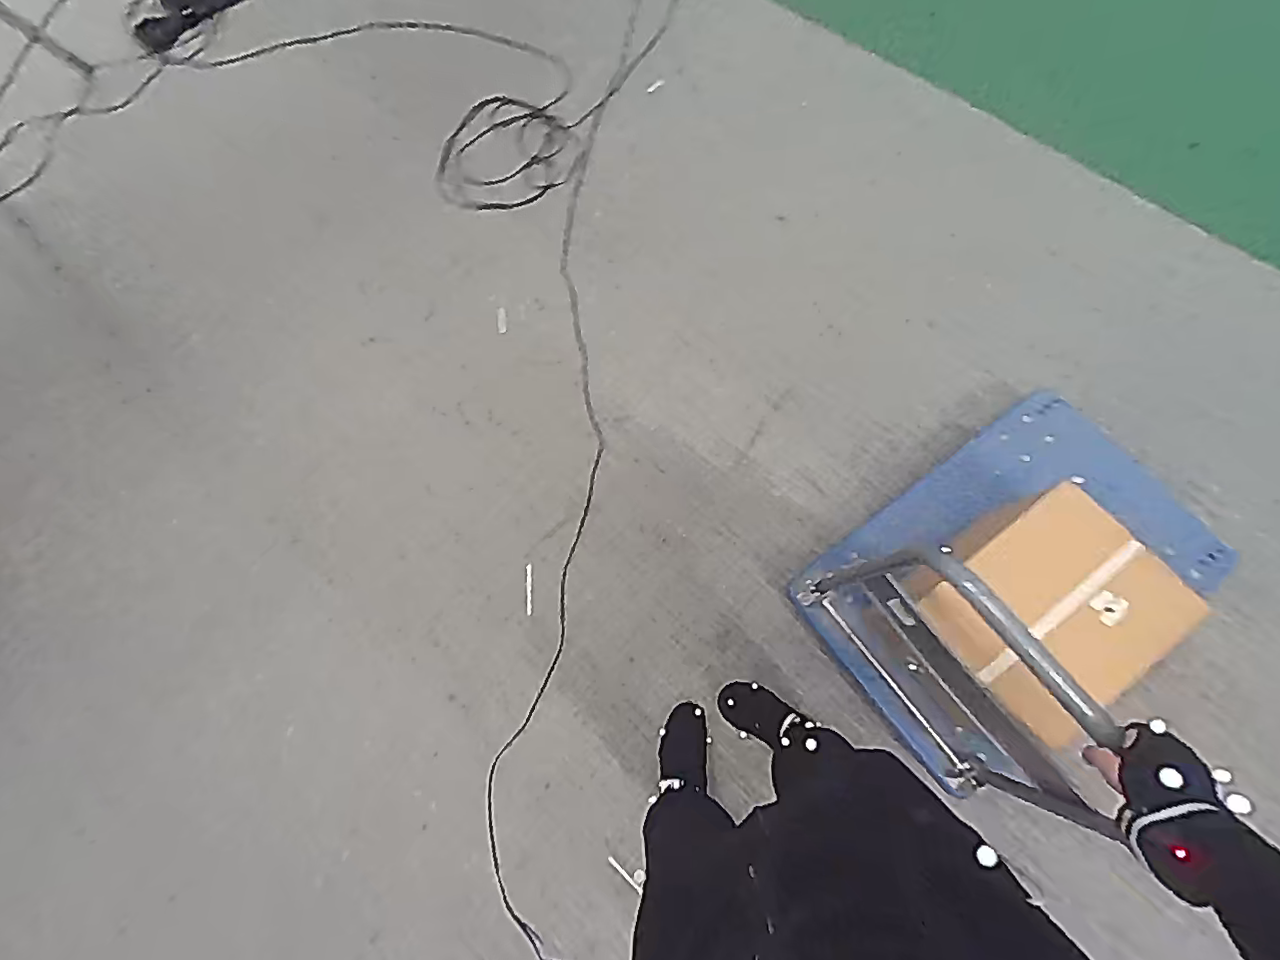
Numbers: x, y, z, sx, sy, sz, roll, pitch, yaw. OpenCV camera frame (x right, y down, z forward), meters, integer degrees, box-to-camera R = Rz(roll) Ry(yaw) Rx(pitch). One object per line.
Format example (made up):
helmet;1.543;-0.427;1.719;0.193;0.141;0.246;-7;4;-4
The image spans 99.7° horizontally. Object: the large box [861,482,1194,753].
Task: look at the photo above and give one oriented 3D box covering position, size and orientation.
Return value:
large box;0.750;0.277;1.117;0.408;0.320;0.320;-37;75;-7
